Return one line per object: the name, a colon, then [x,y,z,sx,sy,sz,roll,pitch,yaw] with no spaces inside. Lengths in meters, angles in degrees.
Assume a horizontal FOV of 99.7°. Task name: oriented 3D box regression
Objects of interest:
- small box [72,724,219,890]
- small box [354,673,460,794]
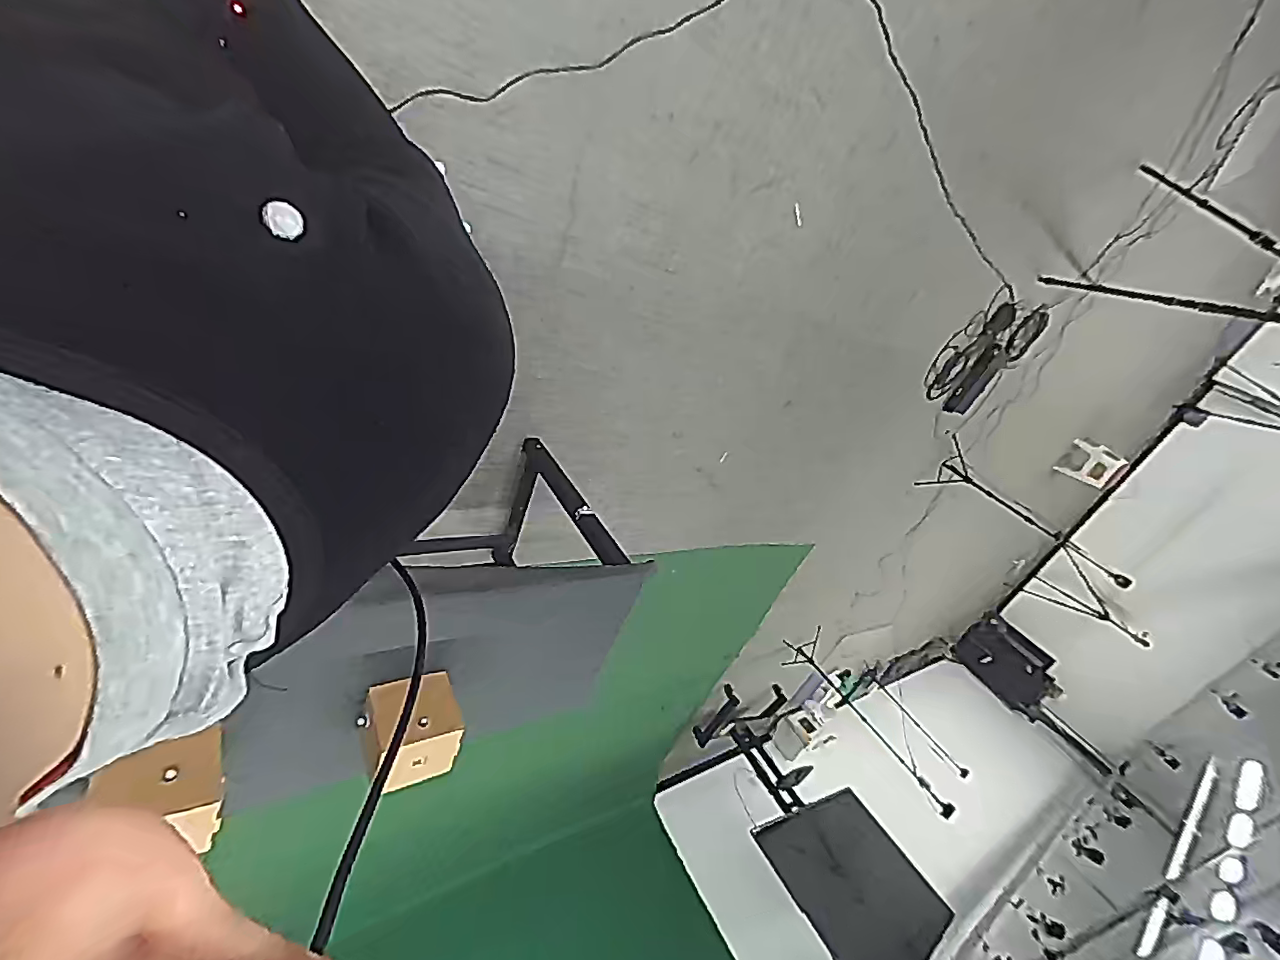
small box: [-0.873,0.565,0.961,0.179,0.176,0.168,6,121,-43]
small box: [-0.540,0.572,1.244,0.179,0.176,0.168,0,124,-38]
